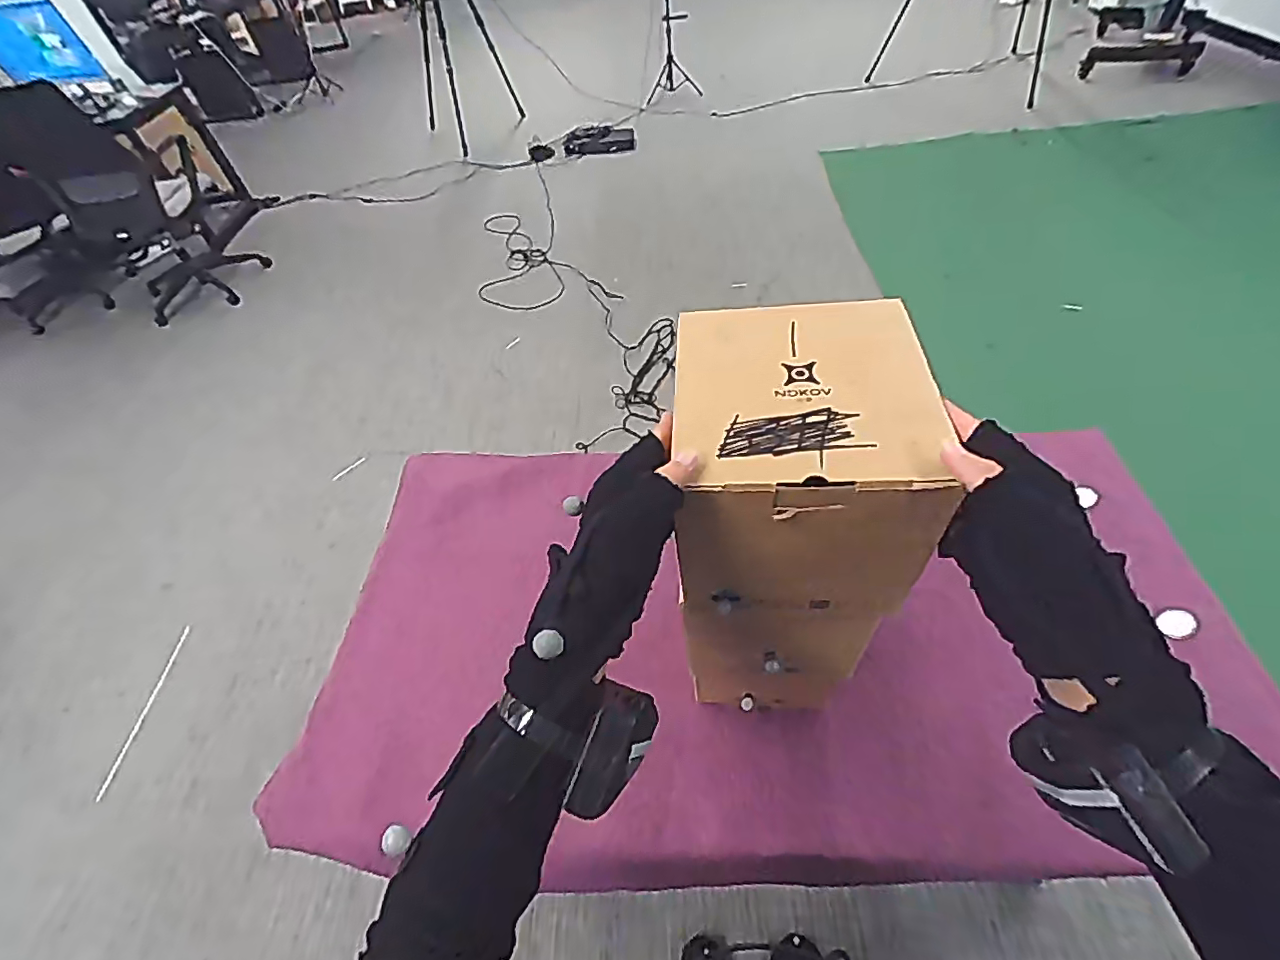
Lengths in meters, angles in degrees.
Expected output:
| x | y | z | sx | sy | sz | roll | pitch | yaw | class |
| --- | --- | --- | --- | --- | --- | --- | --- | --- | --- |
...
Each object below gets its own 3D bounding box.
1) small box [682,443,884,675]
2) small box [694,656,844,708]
| x | y | z | sx | sy | sz | roll | pitch | yaw | class |
| --- | --- | --- | --- | --- | --- | --- | --- | --- | --- |
| 0.131 | 0.082 | 0.556 | 0.168 | 0.176 | 0.179 | -2 | 51 | 8 | small box |
| 0.155 | 0.172 | 0.691 | 0.168 | 0.176 | 0.179 | 0 | 52 | 9 | small box |
